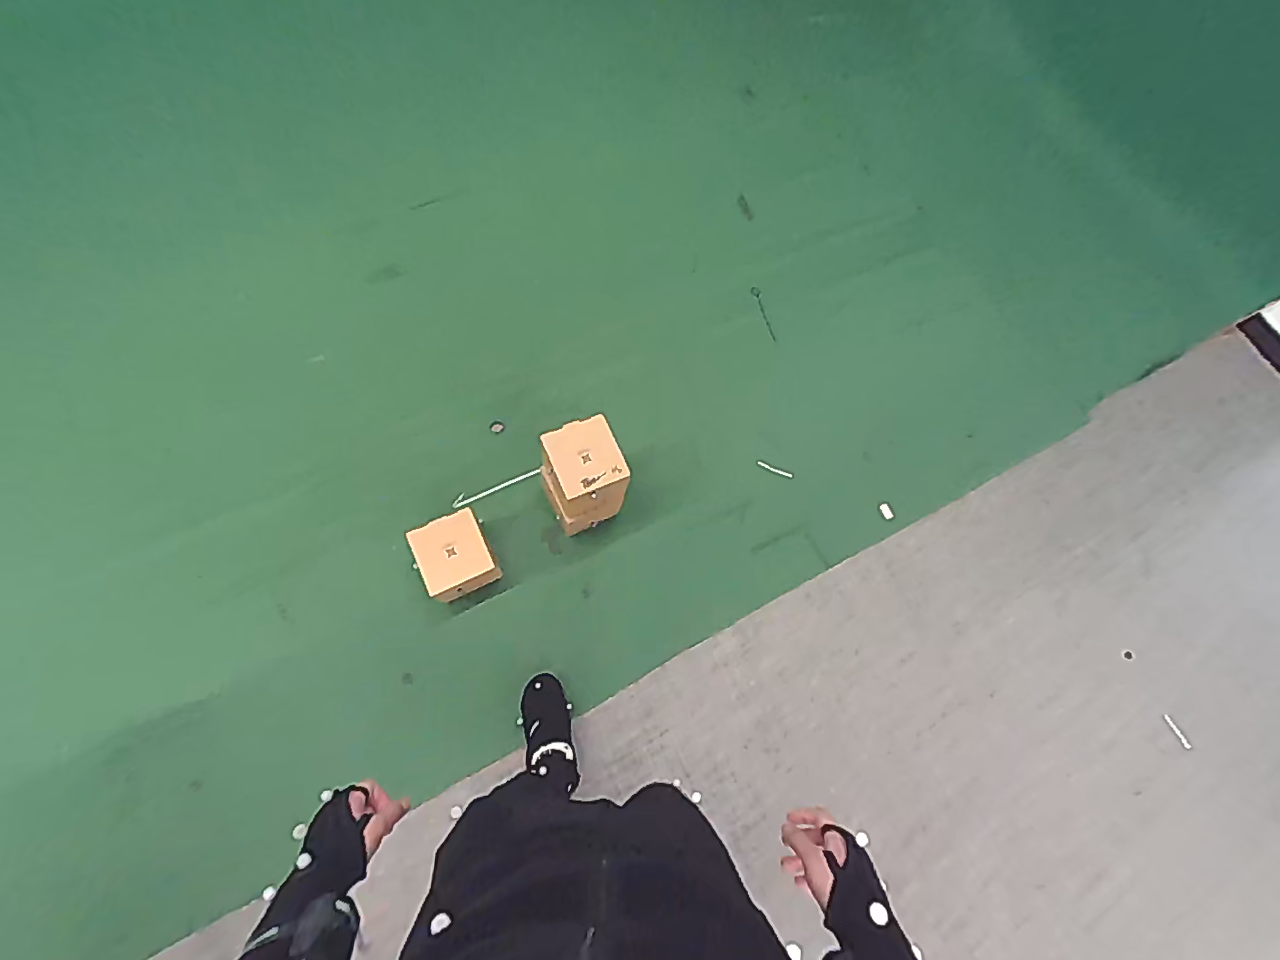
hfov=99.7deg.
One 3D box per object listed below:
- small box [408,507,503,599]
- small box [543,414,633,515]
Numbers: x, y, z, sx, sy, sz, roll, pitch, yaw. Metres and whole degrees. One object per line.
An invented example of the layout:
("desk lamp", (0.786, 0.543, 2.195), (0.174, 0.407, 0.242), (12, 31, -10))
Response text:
("small box", (-0.470, 0.197, 1.404), (0.168, 0.176, 0.179), (-24, 76, -14))
("small box", (-0.134, -0.034, 1.349), (0.168, 0.176, 0.179), (-21, 75, -14))
